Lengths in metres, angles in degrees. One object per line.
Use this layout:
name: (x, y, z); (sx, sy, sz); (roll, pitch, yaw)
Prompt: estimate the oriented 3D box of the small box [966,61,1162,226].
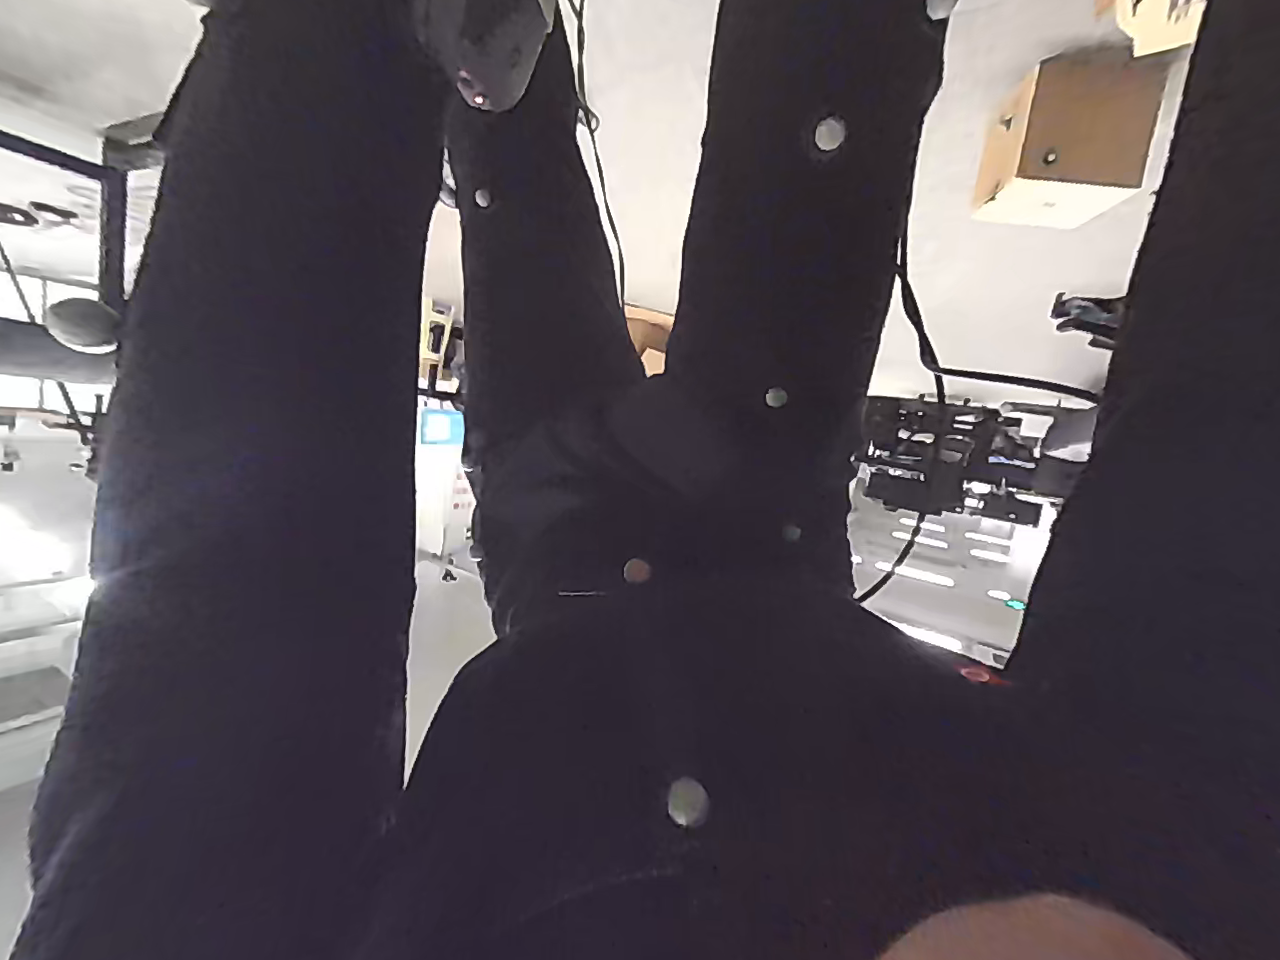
small box: (0.663, -0.527, 0.861); (0.179, 0.176, 0.168); (10, -172, 8)
